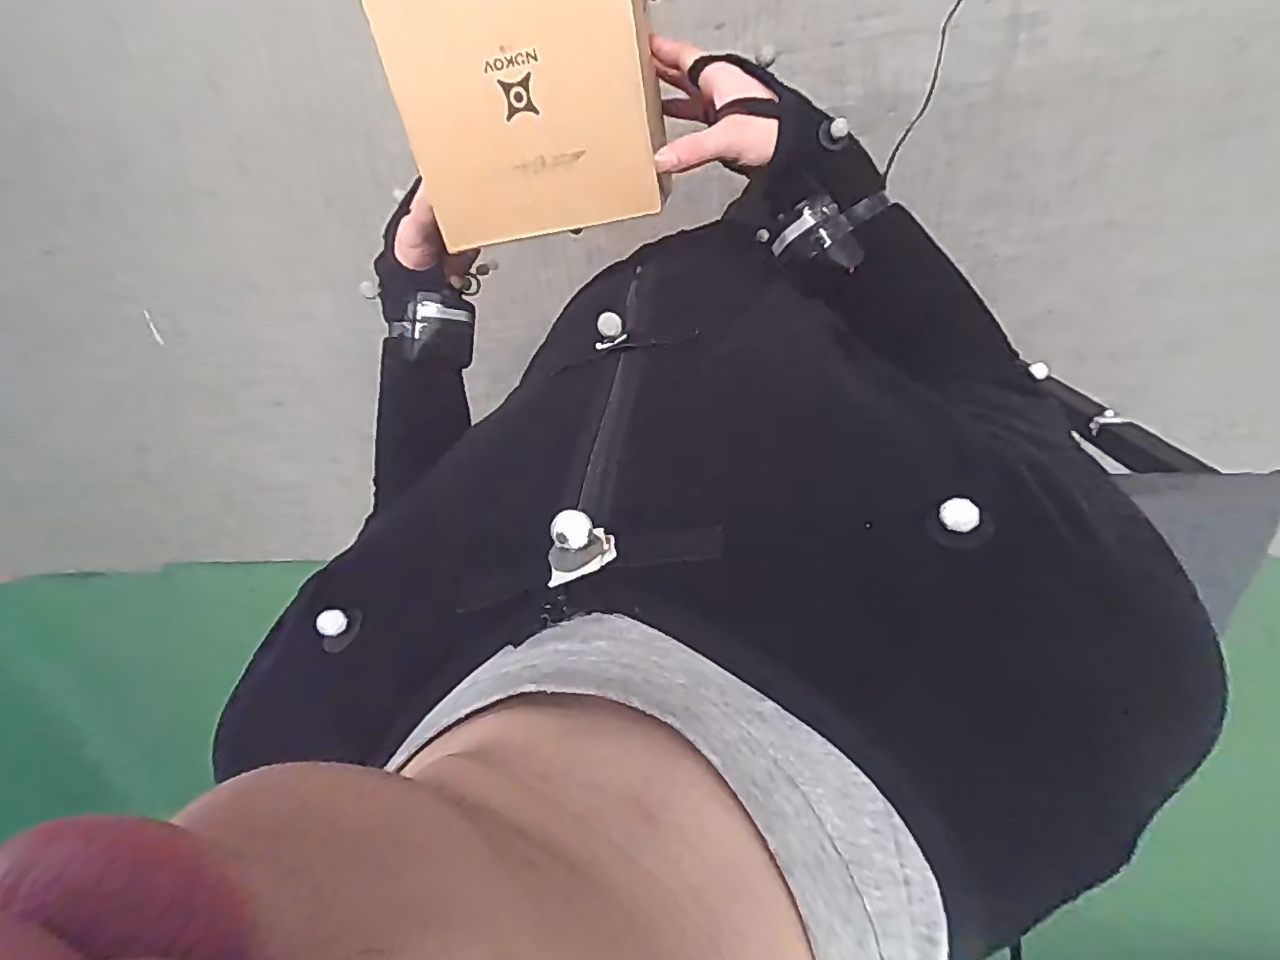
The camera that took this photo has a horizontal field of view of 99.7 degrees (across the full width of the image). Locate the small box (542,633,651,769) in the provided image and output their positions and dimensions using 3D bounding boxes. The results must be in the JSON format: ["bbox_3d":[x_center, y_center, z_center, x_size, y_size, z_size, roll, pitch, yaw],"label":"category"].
[{"bbox_3d":[-0.071,0.404,1.007,0.168,0.176,0.179,-1,120,8],"label":"small box"}]

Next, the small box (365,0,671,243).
[{"bbox_3d":[-0.070,-0.298,0.408,0.168,0.176,0.179,-5,124,10],"label":"small box"}]
